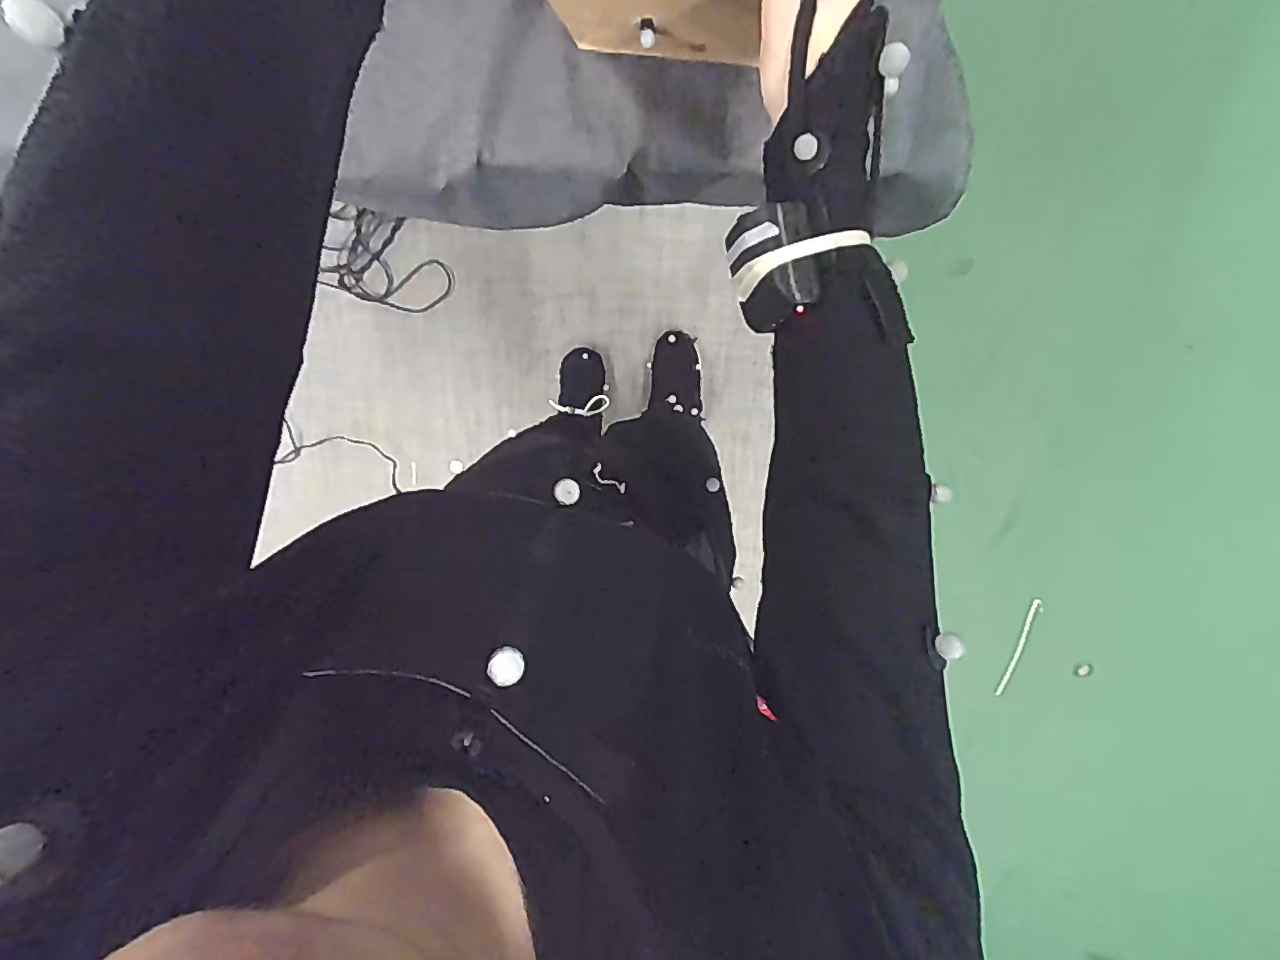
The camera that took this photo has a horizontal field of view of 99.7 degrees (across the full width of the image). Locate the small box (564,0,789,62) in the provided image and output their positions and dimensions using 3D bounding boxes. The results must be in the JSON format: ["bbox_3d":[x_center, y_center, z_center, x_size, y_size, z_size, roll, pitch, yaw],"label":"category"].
[{"bbox_3d":[0.027,-0.401,0.336,0.168,0.176,0.179,9,113,5],"label":"small box"}]
